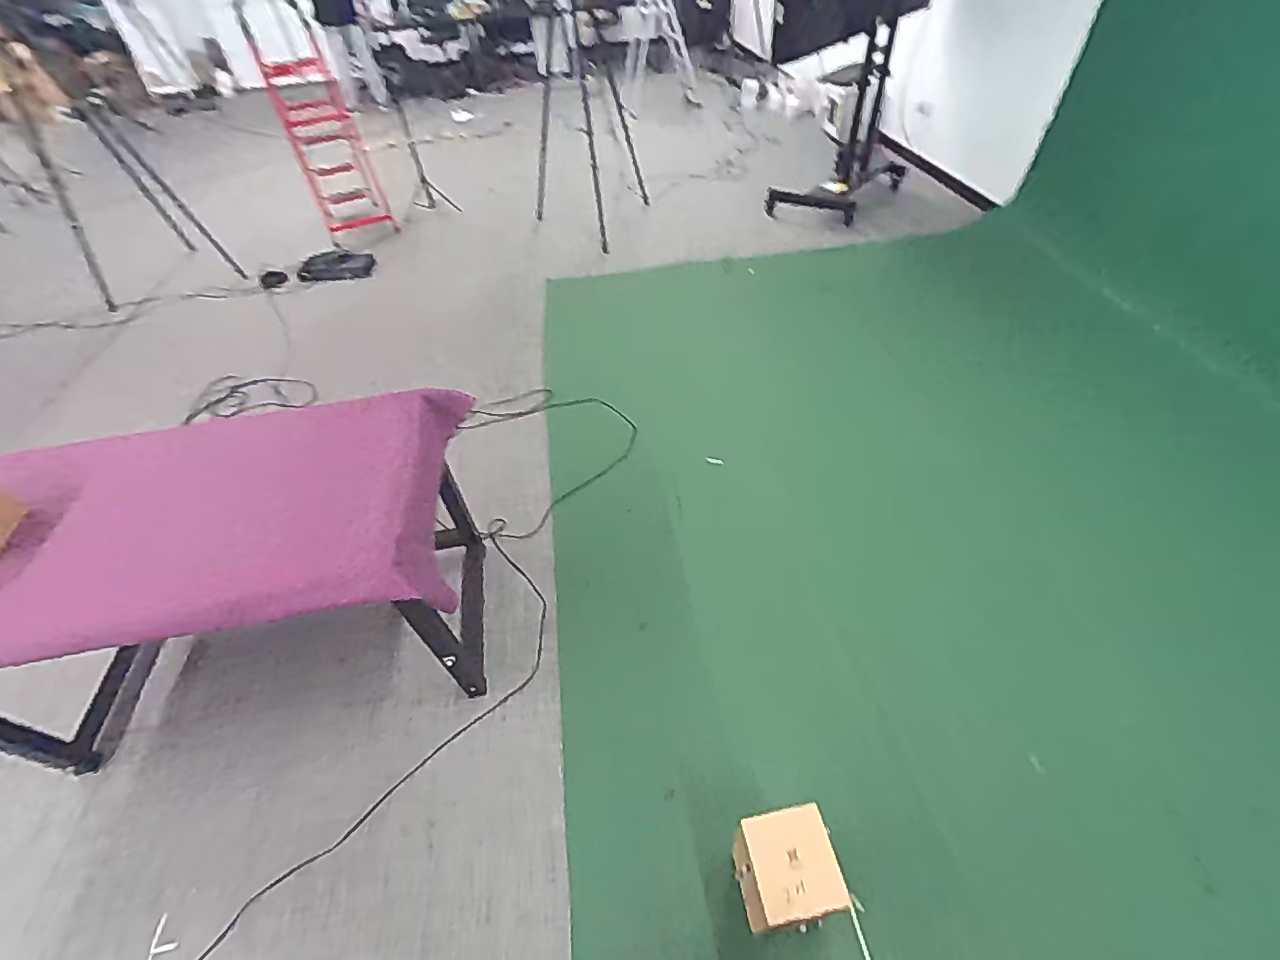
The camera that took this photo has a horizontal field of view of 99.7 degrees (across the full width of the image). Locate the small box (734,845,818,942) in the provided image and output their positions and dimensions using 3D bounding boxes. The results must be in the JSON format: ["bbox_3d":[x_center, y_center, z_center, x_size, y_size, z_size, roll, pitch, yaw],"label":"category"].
[{"bbox_3d":[0.316,0.921,1.223,0.179,0.176,0.168,-9,46,-5],"label":"small box"}]

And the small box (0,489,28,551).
[{"bbox_3d":[-1.508,0.089,1.162,0.168,0.176,0.179,-10,48,-5],"label":"small box"}]

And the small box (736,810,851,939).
[{"bbox_3d":[0.301,0.807,1.106,0.168,0.176,0.179,-9,47,-4],"label":"small box"}]
